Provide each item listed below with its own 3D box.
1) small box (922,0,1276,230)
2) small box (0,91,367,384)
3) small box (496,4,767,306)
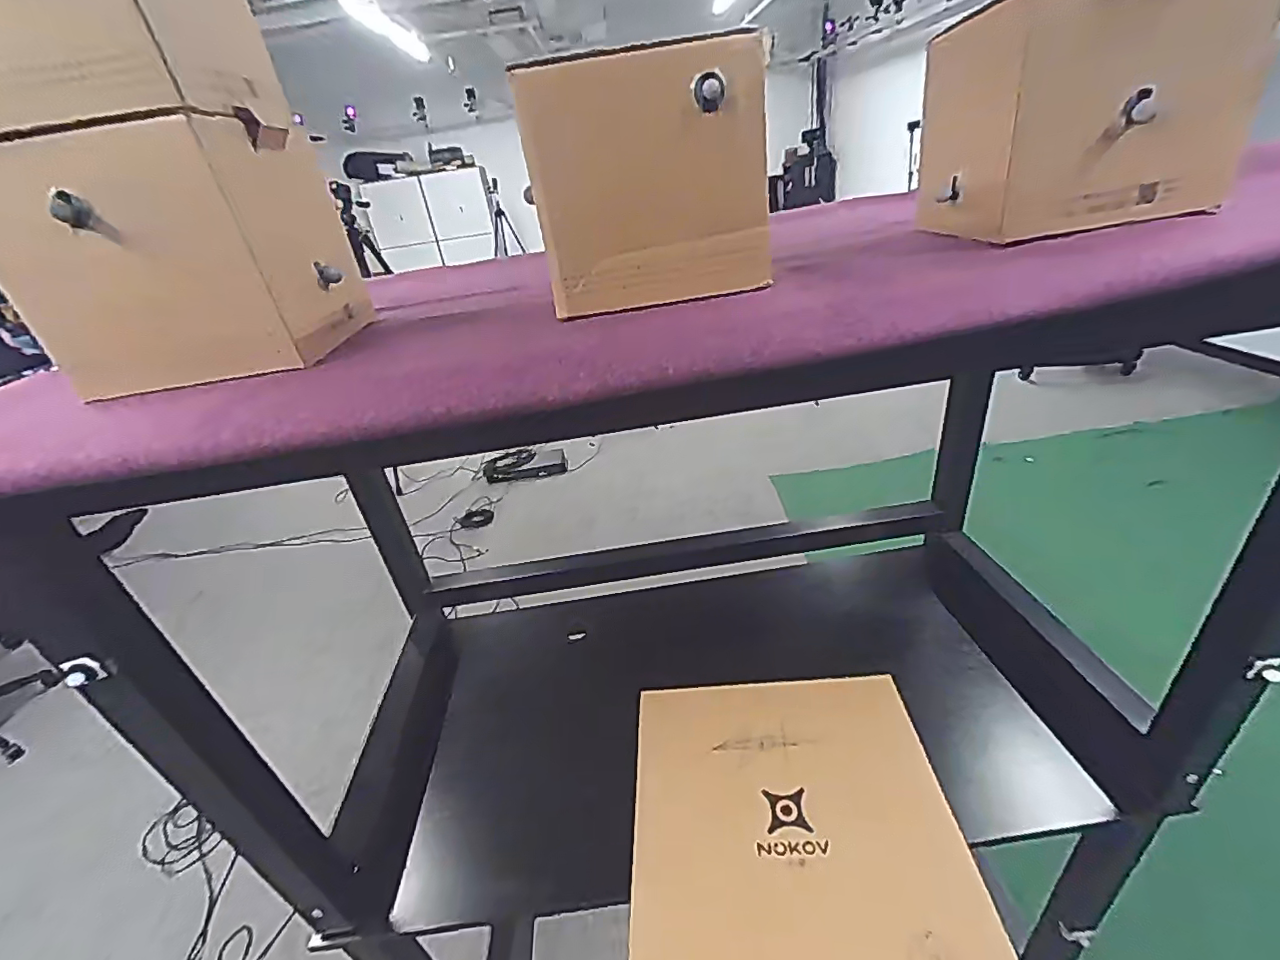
[{"bbox_3d":[0.355,-0.314,0.449,0.168,0.176,0.179,-7,29,7],"label":"small box"},{"bbox_3d":[-0.358,-0.186,0.431,0.179,0.176,0.168,-9,31,-1],"label":"small box"},{"bbox_3d":[-0.001,-0.251,0.450,0.179,0.176,0.168,-9,29,0],"label":"small box"}]
